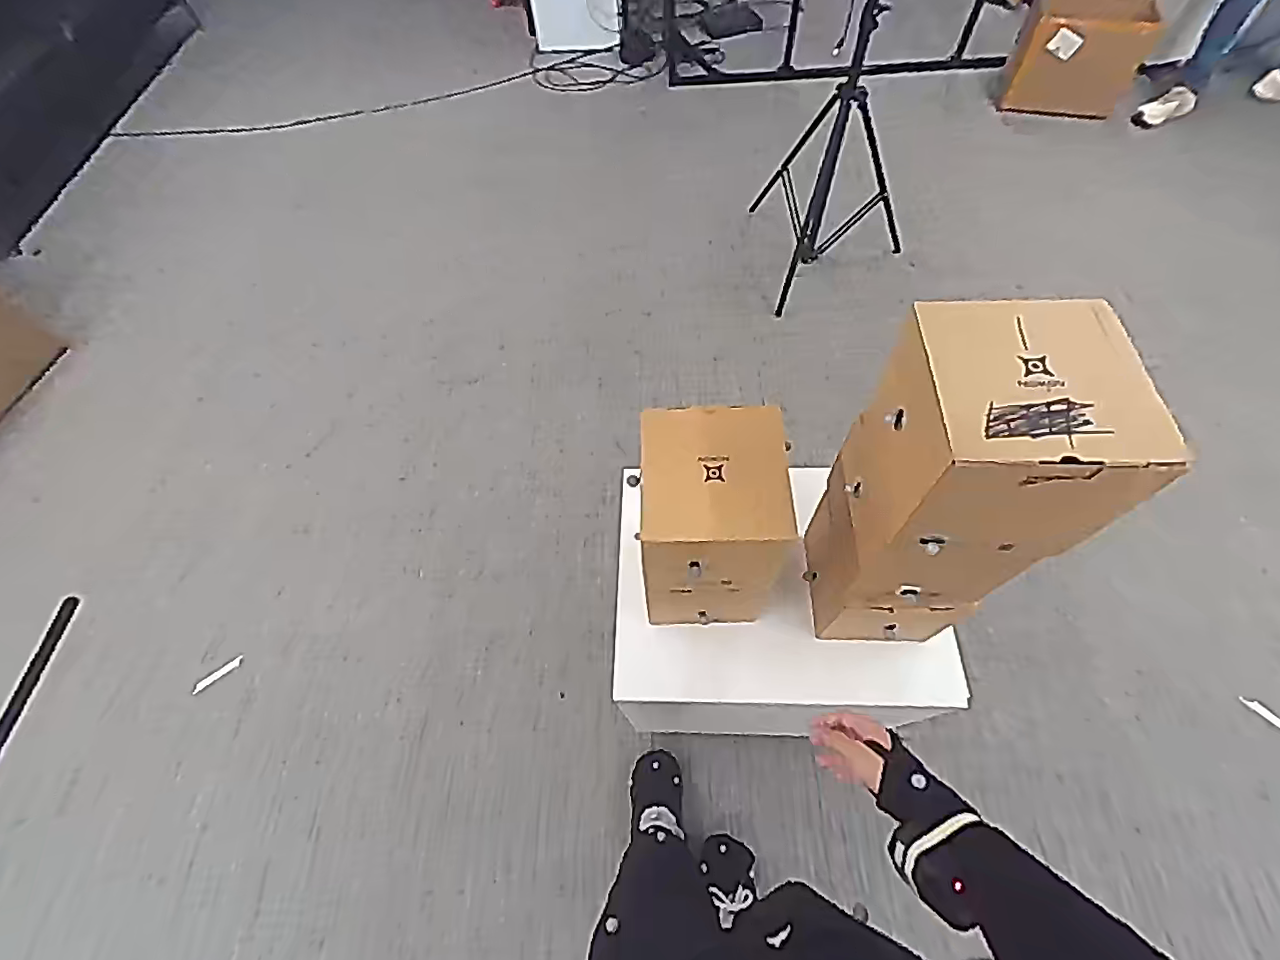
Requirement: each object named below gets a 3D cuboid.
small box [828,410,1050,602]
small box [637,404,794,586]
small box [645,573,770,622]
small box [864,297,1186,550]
[{"bbox_3d":[0.334,0.034,0.649,0.168,0.176,0.179,0,61,5],"label":"small box"},{"bbox_3d":[0.084,0.027,0.669,0.168,0.176,0.179,-1,60,2],"label":"small box"},{"bbox_3d":[0.090,0.104,0.812,0.168,0.176,0.179,-2,61,2],"label":"small box"},{"bbox_3d":[0.324,-0.045,0.505,0.168,0.176,0.179,1,59,6],"label":"small box"}]
